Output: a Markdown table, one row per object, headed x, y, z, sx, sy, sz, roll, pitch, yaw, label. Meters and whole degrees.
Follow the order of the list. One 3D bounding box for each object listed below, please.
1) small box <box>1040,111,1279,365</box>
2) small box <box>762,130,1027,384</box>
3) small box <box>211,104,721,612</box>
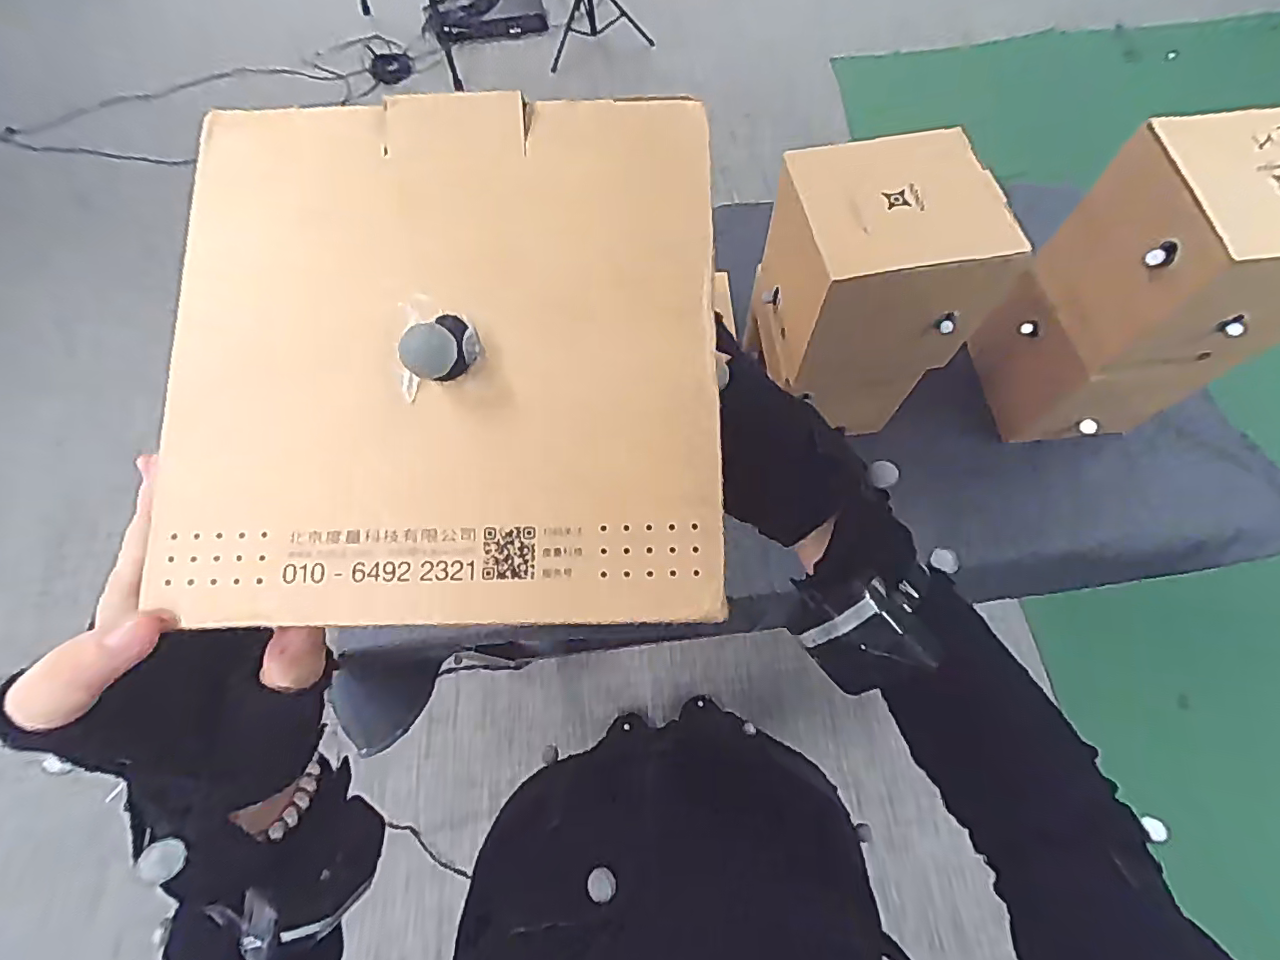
| x | y | z | sx | sy | sz | roll | pitch | yaw | label |
| --- | --- | --- | --- | --- | --- | --- | --- | --- | --- |
| 0.561 | -0.231 | 0.548 | 0.168 | 0.176 | 0.179 | -4 | 67 | 2 | small box |
| 0.240 | -0.220 | 0.564 | 0.179 | 0.176 | 0.168 | -8 | 66 | 0 | small box |
| -0.055 | -0.030 | 0.251 | 0.168 | 0.179 | 0.176 | 1 | 81 | 0 | small box |
